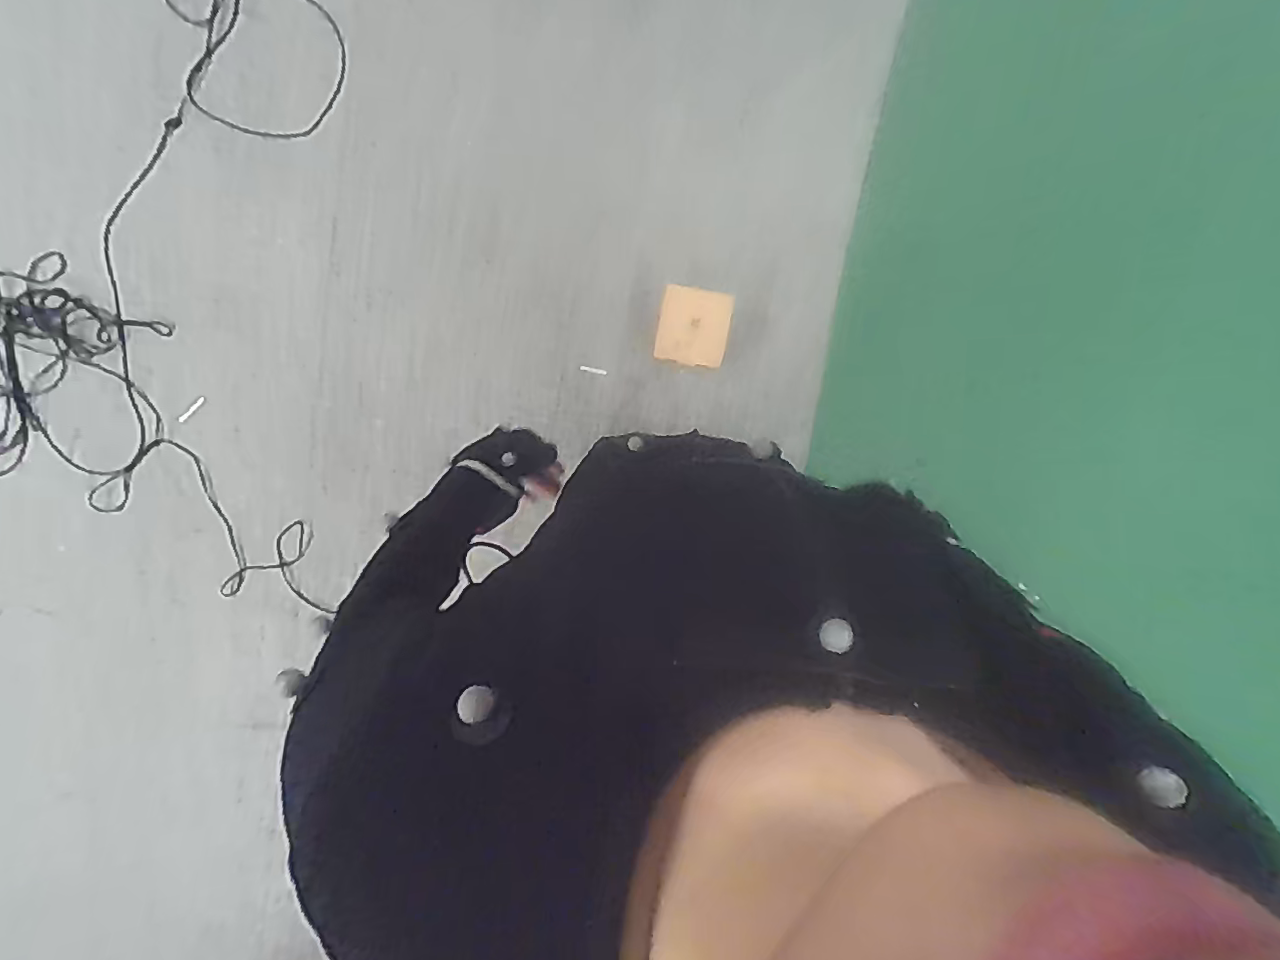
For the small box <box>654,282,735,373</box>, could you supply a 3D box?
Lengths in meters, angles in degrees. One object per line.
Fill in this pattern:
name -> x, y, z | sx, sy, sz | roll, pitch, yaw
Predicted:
small box -> 0.129, -0.378, 1.365 | 0.168, 0.176, 0.179 | 11, 97, -1
